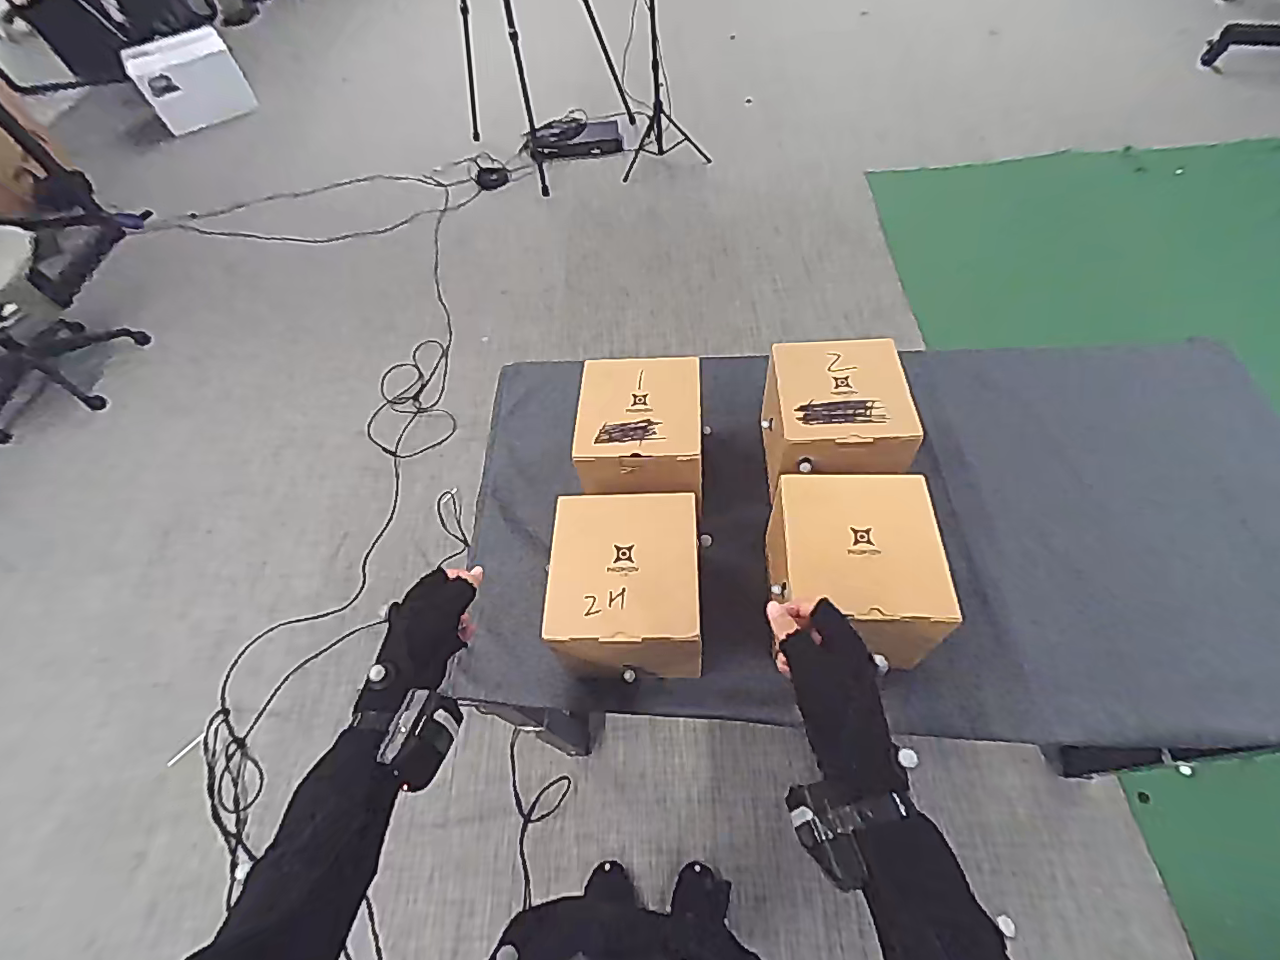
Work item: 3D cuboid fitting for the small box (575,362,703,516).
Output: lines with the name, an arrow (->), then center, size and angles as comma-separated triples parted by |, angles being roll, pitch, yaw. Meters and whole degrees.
small box -> 0.009, -0.050, 0.794 | 0.168, 0.176, 0.179 | 0, 56, 6

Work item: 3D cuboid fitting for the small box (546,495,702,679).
small box -> -0.009, 0.135, 0.670 | 0.168, 0.176, 0.179 | -2, 57, 5
